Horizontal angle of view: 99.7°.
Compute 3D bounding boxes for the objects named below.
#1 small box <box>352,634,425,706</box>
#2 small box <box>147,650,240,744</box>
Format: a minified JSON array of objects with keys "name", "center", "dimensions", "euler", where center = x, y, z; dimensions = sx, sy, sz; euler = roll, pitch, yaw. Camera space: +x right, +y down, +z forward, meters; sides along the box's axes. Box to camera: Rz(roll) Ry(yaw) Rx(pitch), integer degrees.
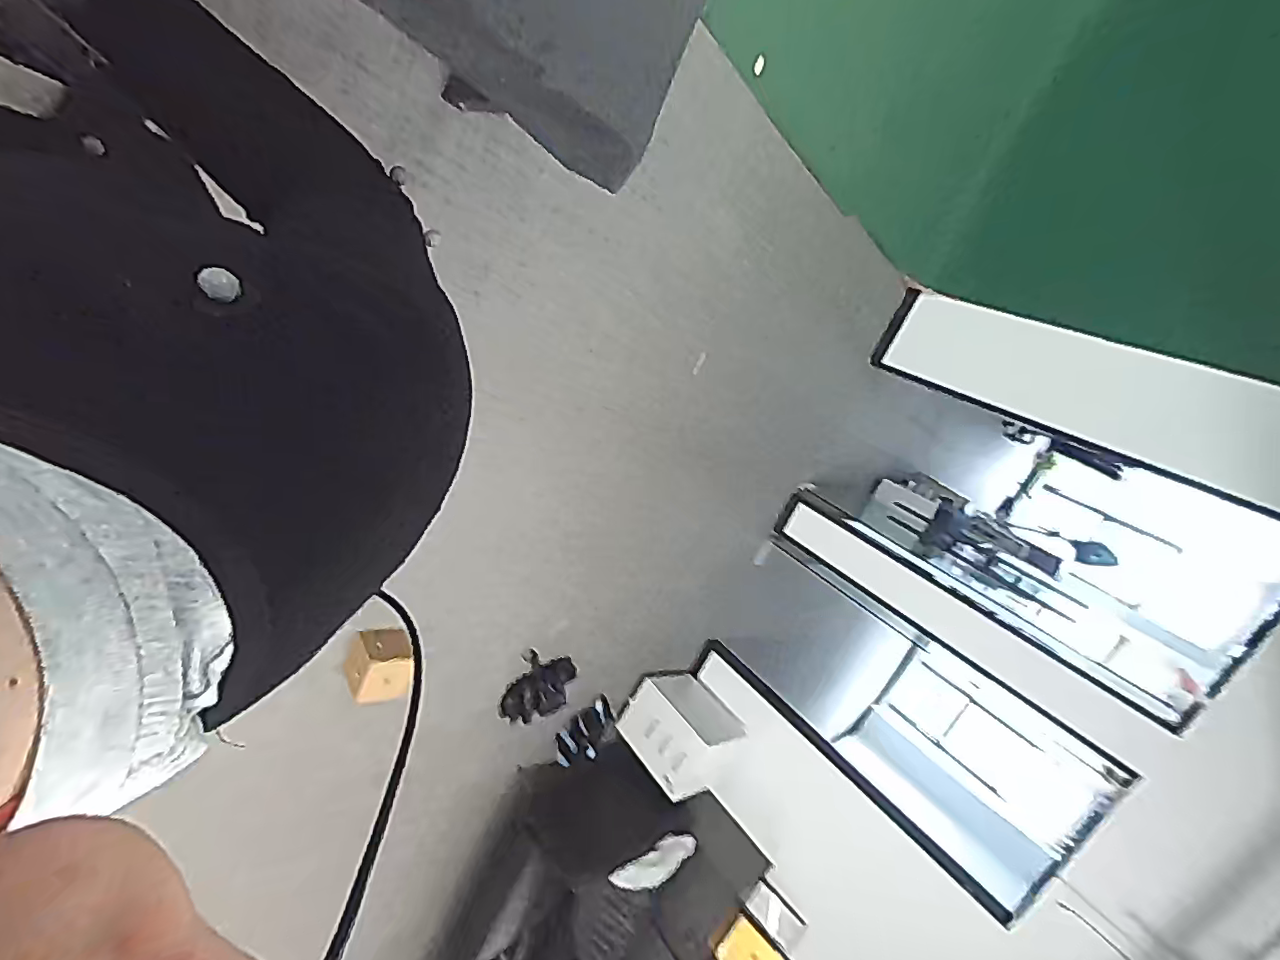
[{"name":"small box","center":[-0.901,0.665,1.926],"dimensions":[0.168,0.176,0.179],"euler":[10,111,-47]},{"name":"small box","center":[-1.256,0.595,1.515],"dimensions":[0.168,0.176,0.179],"euler":[11,109,-49]}]
